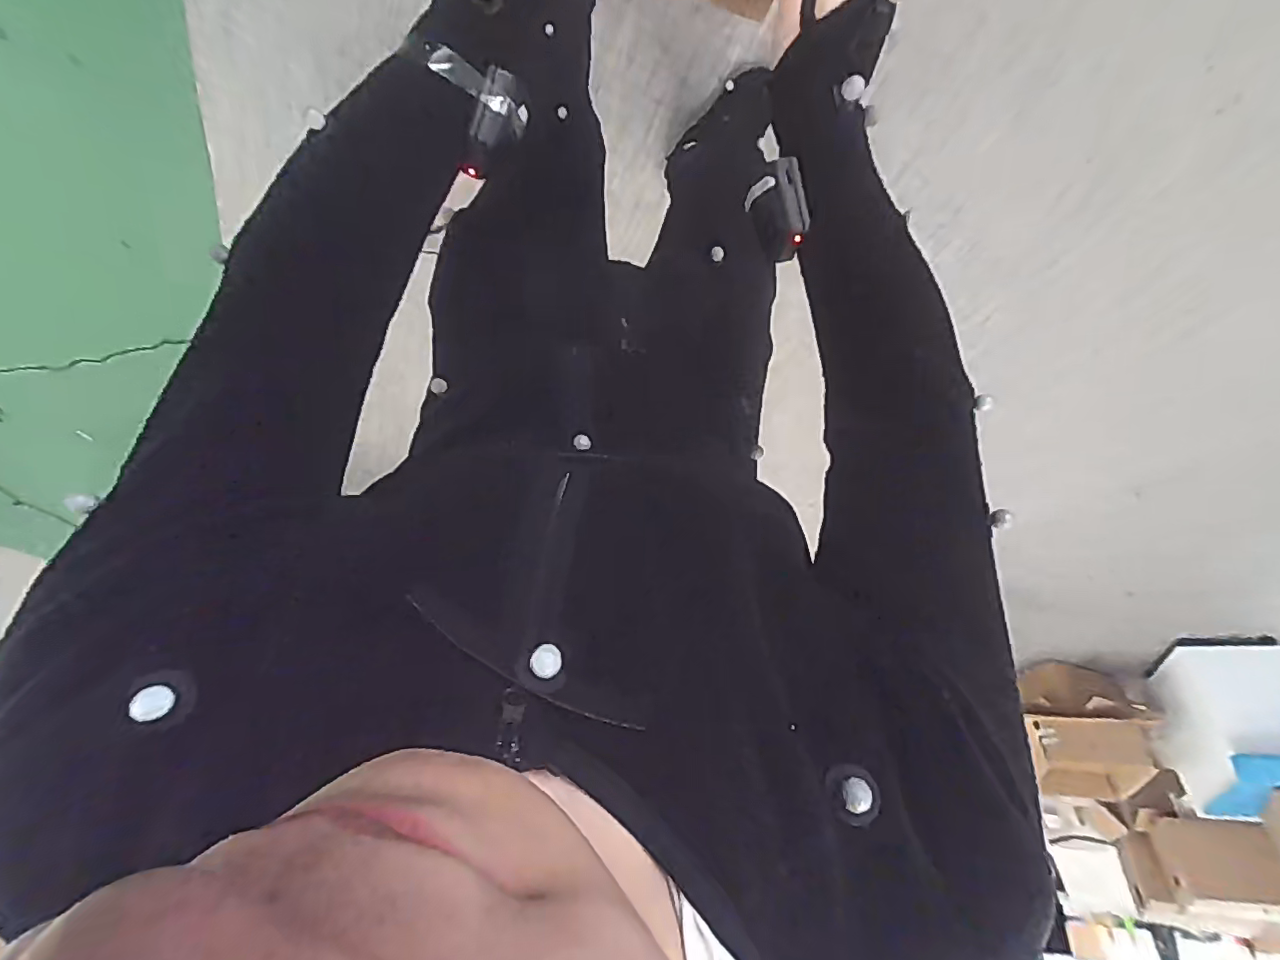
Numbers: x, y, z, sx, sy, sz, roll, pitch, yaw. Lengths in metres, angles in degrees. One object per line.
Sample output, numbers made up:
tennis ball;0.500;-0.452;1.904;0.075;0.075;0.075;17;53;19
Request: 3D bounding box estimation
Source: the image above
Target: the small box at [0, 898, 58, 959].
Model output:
small box;-1.643;1.176;1.368;0.179;0.176;0.168;24;136;-17
